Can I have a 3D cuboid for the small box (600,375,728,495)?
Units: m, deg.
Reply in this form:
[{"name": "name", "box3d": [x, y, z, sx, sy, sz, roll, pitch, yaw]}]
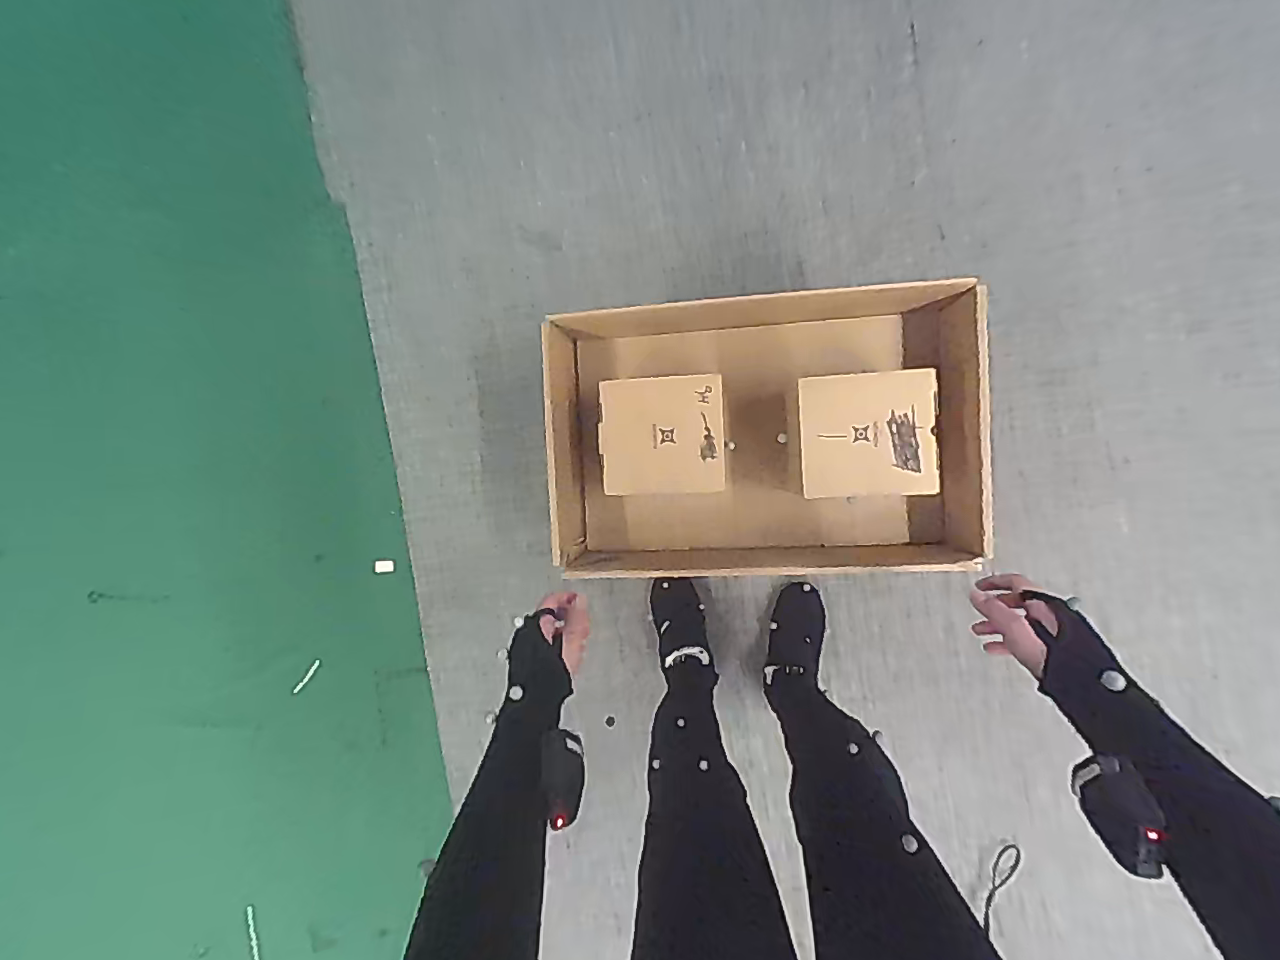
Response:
[{"name": "small box", "box3d": [0.044, -0.062, 0.824, 0.179, 0.176, 0.168, -1, 92, 9]}]
